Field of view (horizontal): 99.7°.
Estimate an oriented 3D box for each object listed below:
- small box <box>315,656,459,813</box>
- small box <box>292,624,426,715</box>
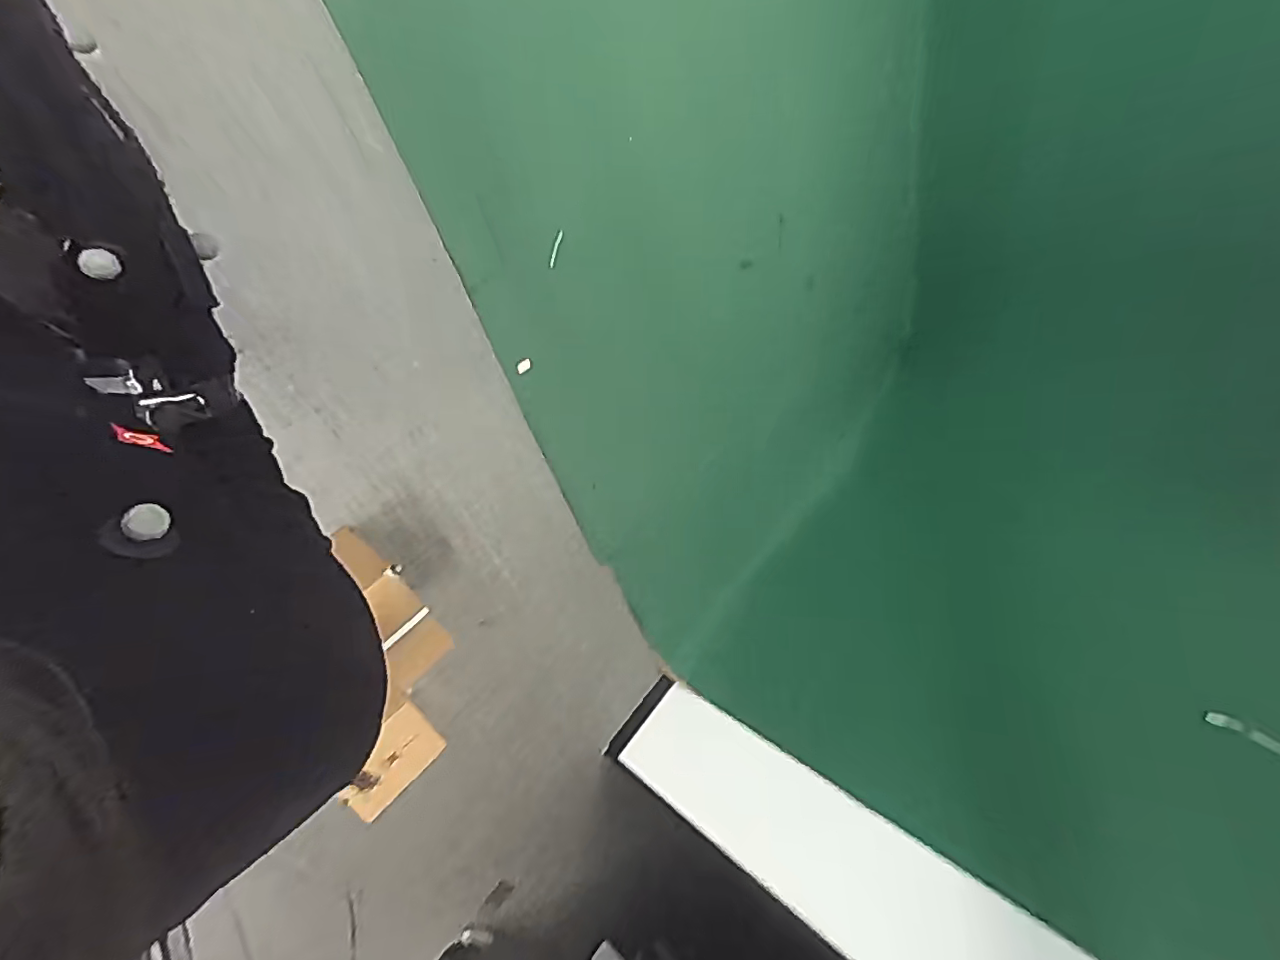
[{"bbox_3d":[-0.490,0.479,1.039,0.179,0.176,0.168,-41,131,-29],"label":"small box"},{"bbox_3d":[-0.600,0.434,1.153,0.168,0.176,0.179,-40,130,-29],"label":"small box"}]
